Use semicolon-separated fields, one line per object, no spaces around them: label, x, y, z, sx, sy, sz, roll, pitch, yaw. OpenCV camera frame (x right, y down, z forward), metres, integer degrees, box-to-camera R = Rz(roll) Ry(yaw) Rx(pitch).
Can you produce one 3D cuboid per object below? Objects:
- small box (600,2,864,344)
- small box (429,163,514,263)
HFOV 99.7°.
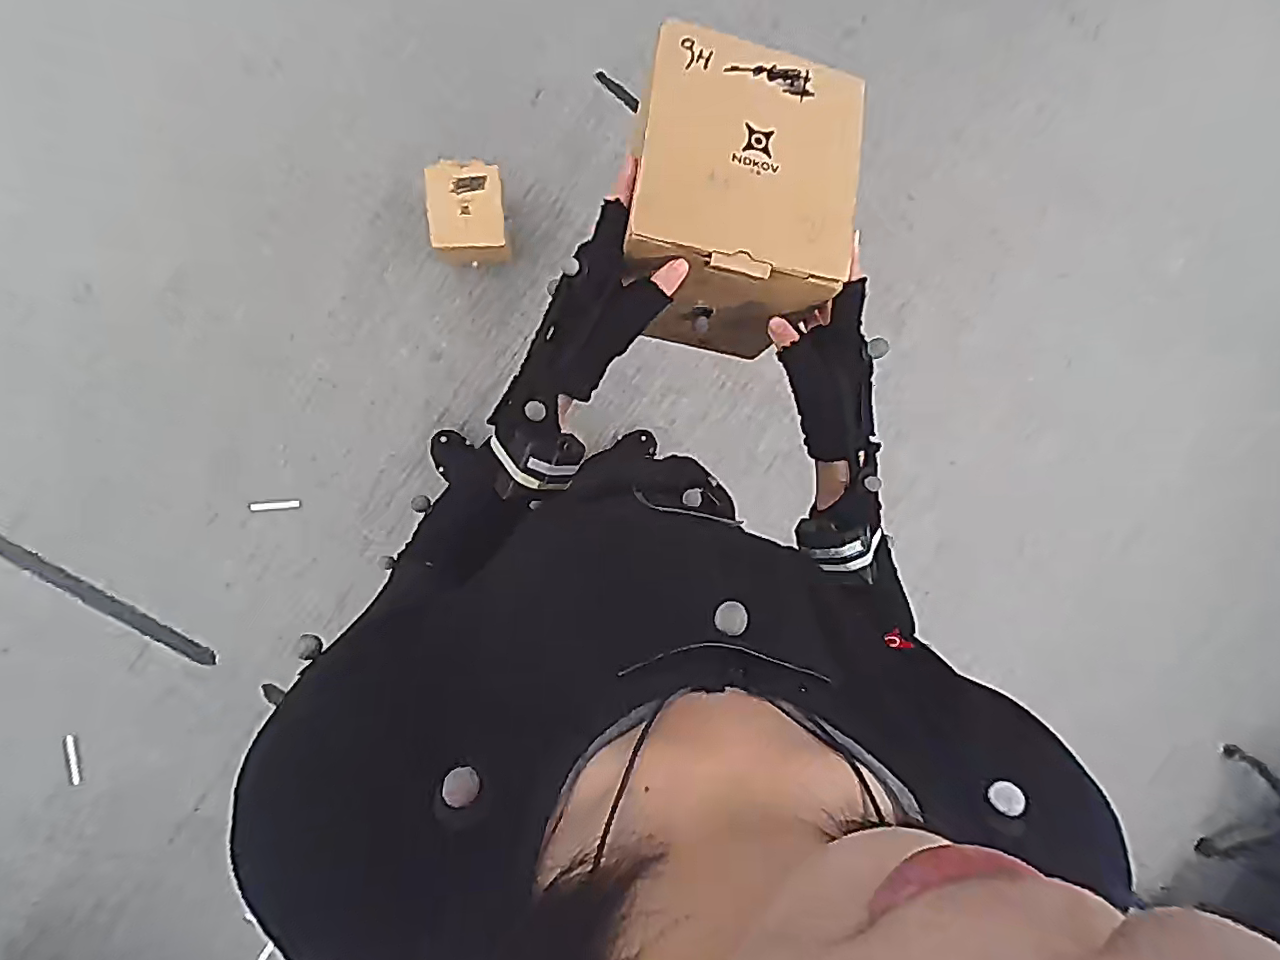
small box;0.063;-0.234;0.465;0.168;0.176;0.179;9;84;-11
small box;-0.398;-0.634;1.299;0.168;0.176;0.179;-4;99;-7
